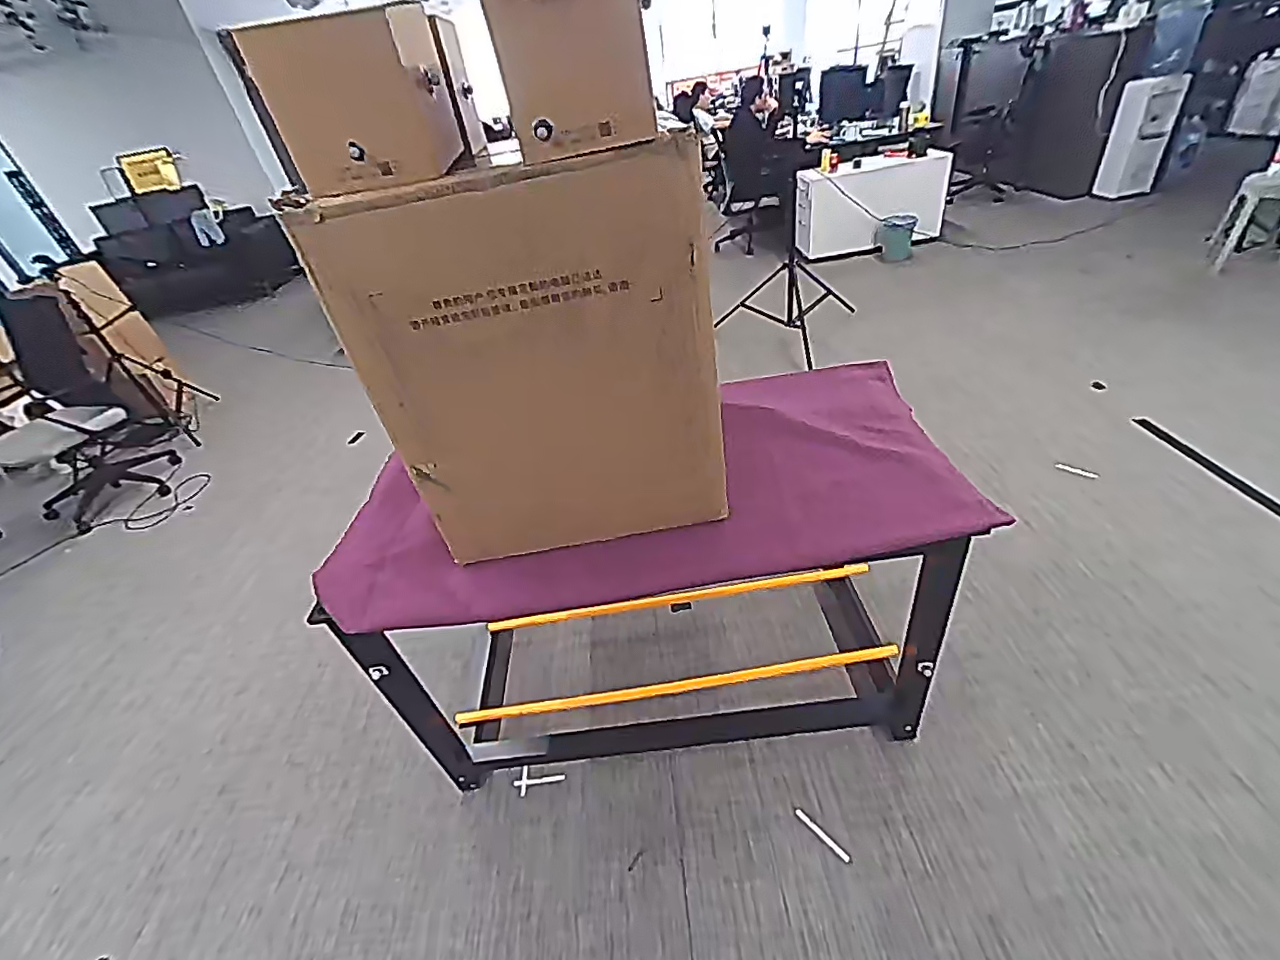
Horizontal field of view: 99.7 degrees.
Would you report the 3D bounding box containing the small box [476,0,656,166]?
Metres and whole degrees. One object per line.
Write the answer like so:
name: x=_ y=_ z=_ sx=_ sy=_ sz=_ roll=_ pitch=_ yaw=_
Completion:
small box: x=-0.077 y=-0.494 z=0.653 sx=0.168 sy=0.176 sz=0.179 roll=-10 pitch=39 yaw=3
